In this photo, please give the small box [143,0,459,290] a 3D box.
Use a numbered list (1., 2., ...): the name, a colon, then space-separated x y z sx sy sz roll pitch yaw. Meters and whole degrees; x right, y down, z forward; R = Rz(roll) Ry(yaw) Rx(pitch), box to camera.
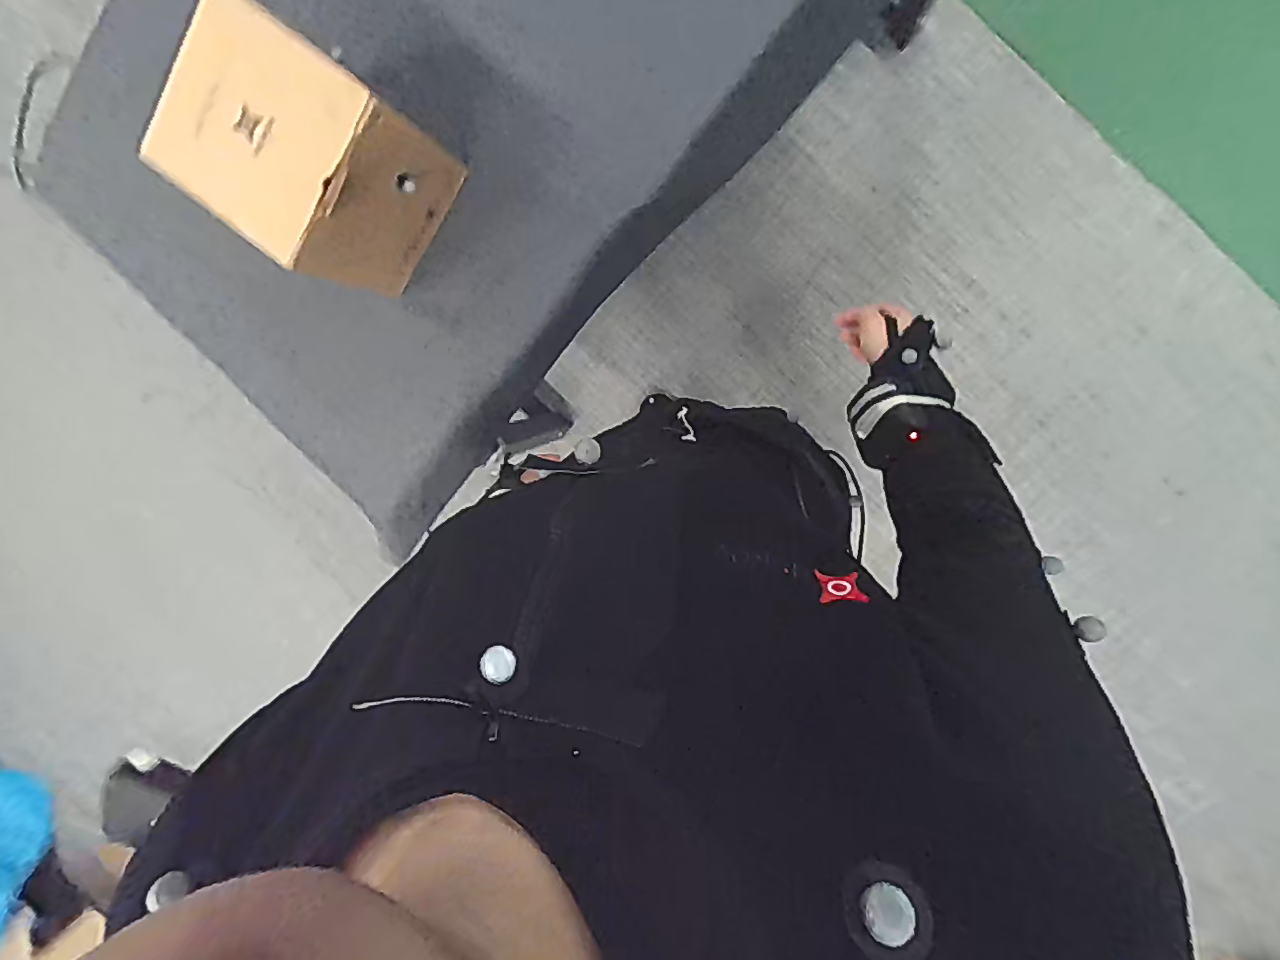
1. small box: -0.318 -0.312 0.542 0.179 0.176 0.168 37 102 3
